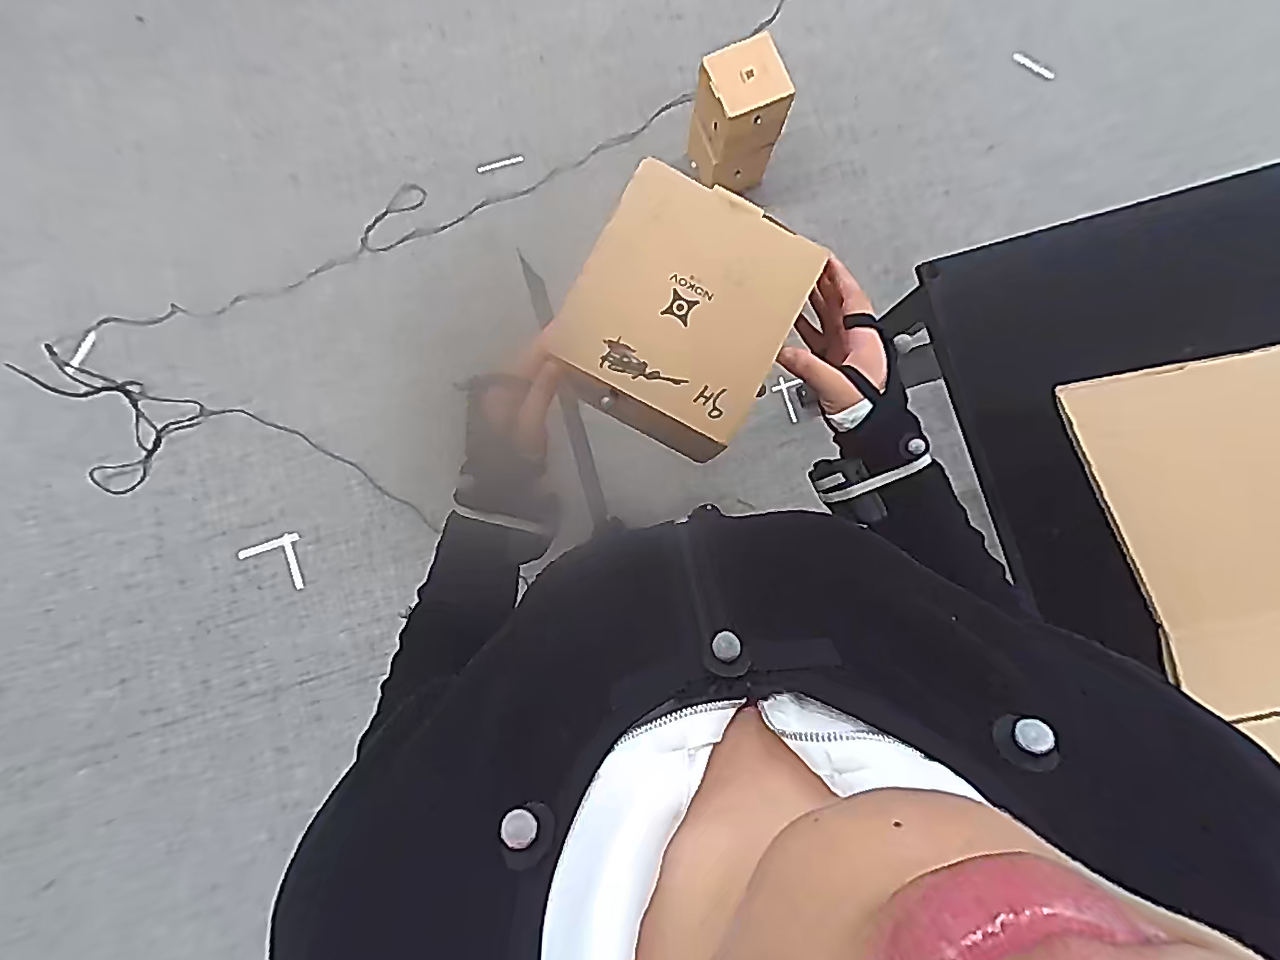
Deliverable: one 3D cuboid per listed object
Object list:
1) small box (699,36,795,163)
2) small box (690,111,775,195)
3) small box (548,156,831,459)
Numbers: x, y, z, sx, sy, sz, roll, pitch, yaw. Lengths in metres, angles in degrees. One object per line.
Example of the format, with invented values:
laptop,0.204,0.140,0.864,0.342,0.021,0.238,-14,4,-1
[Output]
small box,0.255,-0.936,1.347,0.179,0.176,0.168,-23,87,-3
small box,0.250,-0.920,1.508,0.179,0.176,0.168,-20,86,-1
small box,0.038,-0.137,0.496,0.168,0.176,0.179,28,87,3
